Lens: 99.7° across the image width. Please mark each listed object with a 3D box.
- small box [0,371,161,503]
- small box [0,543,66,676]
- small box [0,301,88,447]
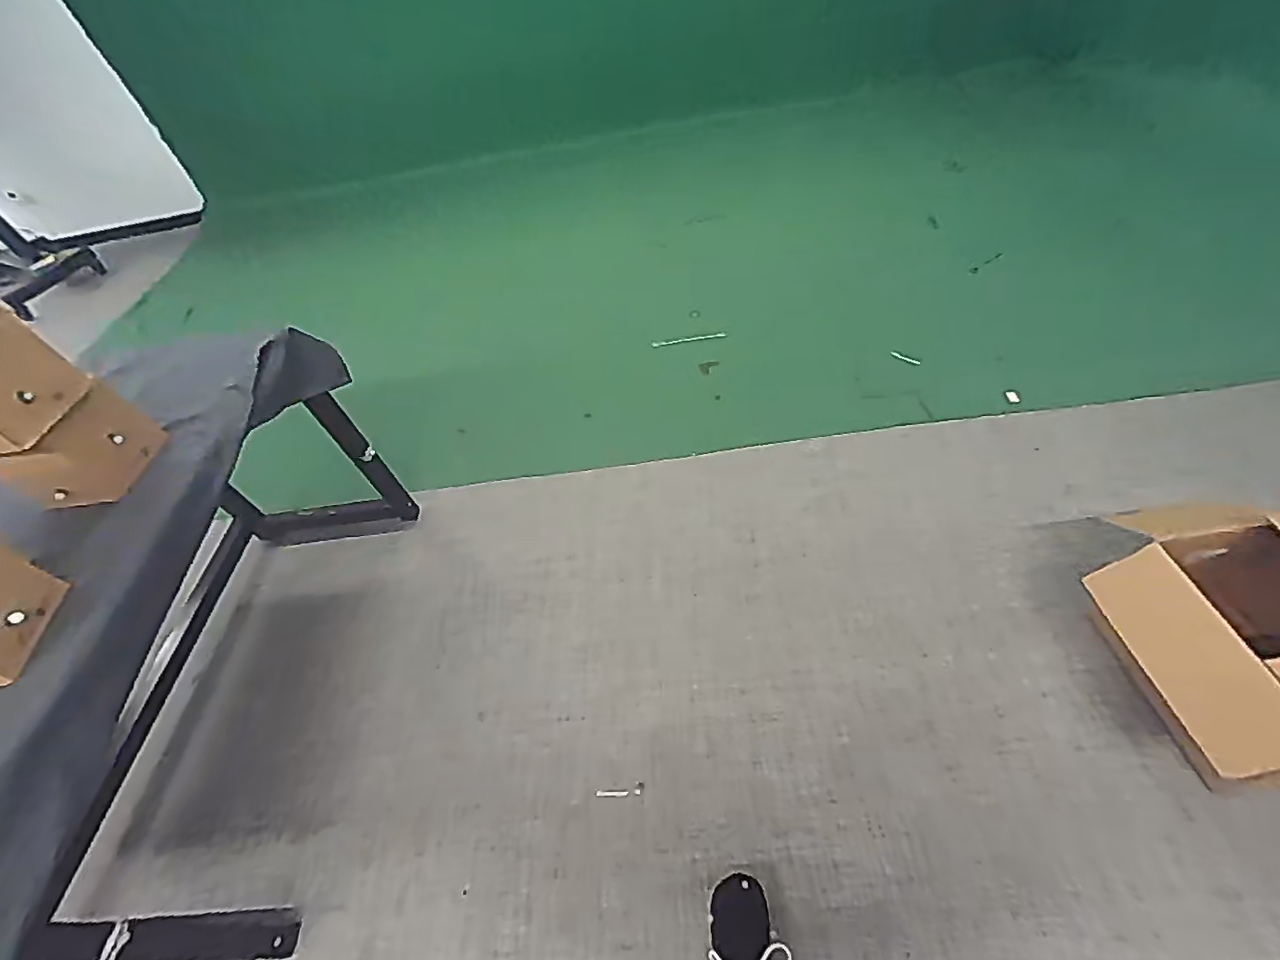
[{"bbox_3d":[-1.058,-0.076,0.998,0.179,0.176,0.168,-7,50,5],"label":"small box"},{"bbox_3d":[-1.005,0.191,0.763,0.179,0.176,0.168,-15,49,-2],"label":"small box"},{"bbox_3d":[-1.069,-0.162,0.857,0.179,0.176,0.168,-4,50,7],"label":"small box"}]
